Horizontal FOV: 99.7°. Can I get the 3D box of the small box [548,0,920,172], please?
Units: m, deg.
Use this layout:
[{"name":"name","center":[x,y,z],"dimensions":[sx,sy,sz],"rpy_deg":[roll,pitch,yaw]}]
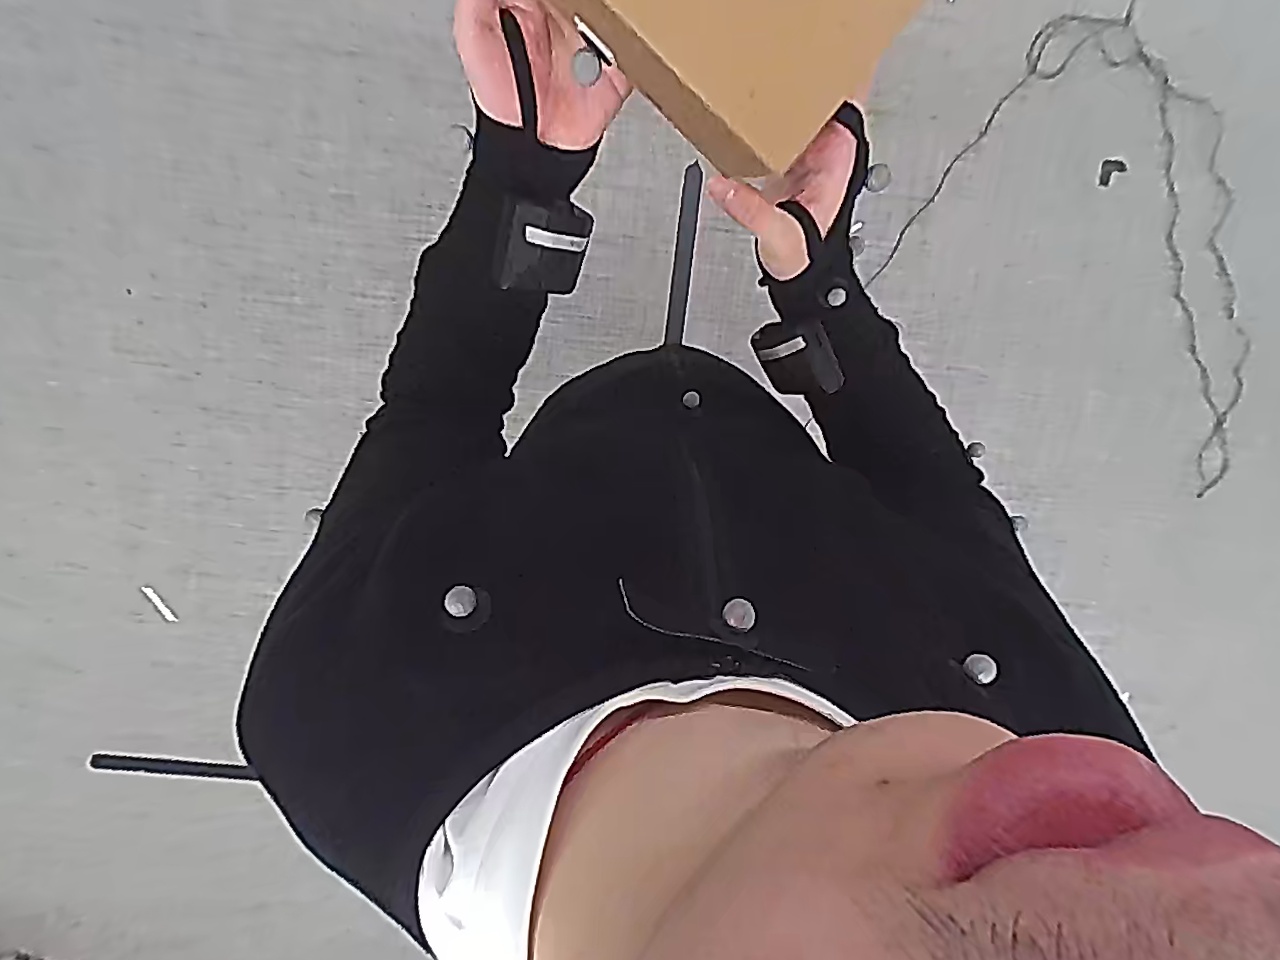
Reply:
[{"name":"small box","center":[0.045,-0.254,0.210],"dimensions":[0.168,0.176,0.179],"rpy_deg":[36,114,-15]}]
